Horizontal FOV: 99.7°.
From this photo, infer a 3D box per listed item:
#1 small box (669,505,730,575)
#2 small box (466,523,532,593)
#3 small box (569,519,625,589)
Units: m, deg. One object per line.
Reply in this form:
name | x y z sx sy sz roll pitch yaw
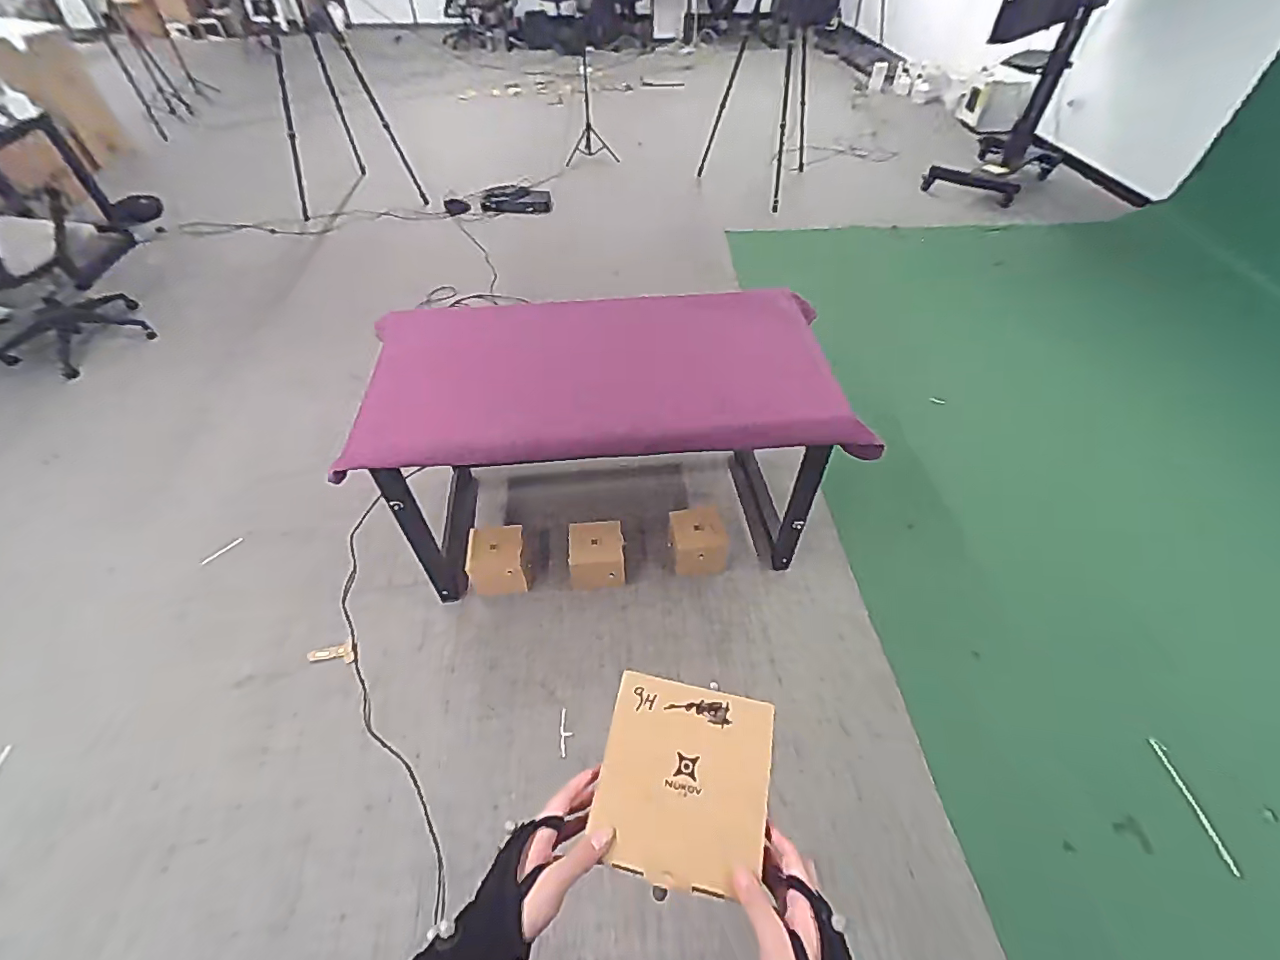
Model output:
small box | 0.197 0.209 1.847 0.179 0.176 0.168 -7 49 -5
small box | -0.466 0.265 1.805 0.179 0.176 0.168 -4 49 -4
small box | -0.141 0.251 1.815 0.179 0.176 0.168 -4 48 -2
